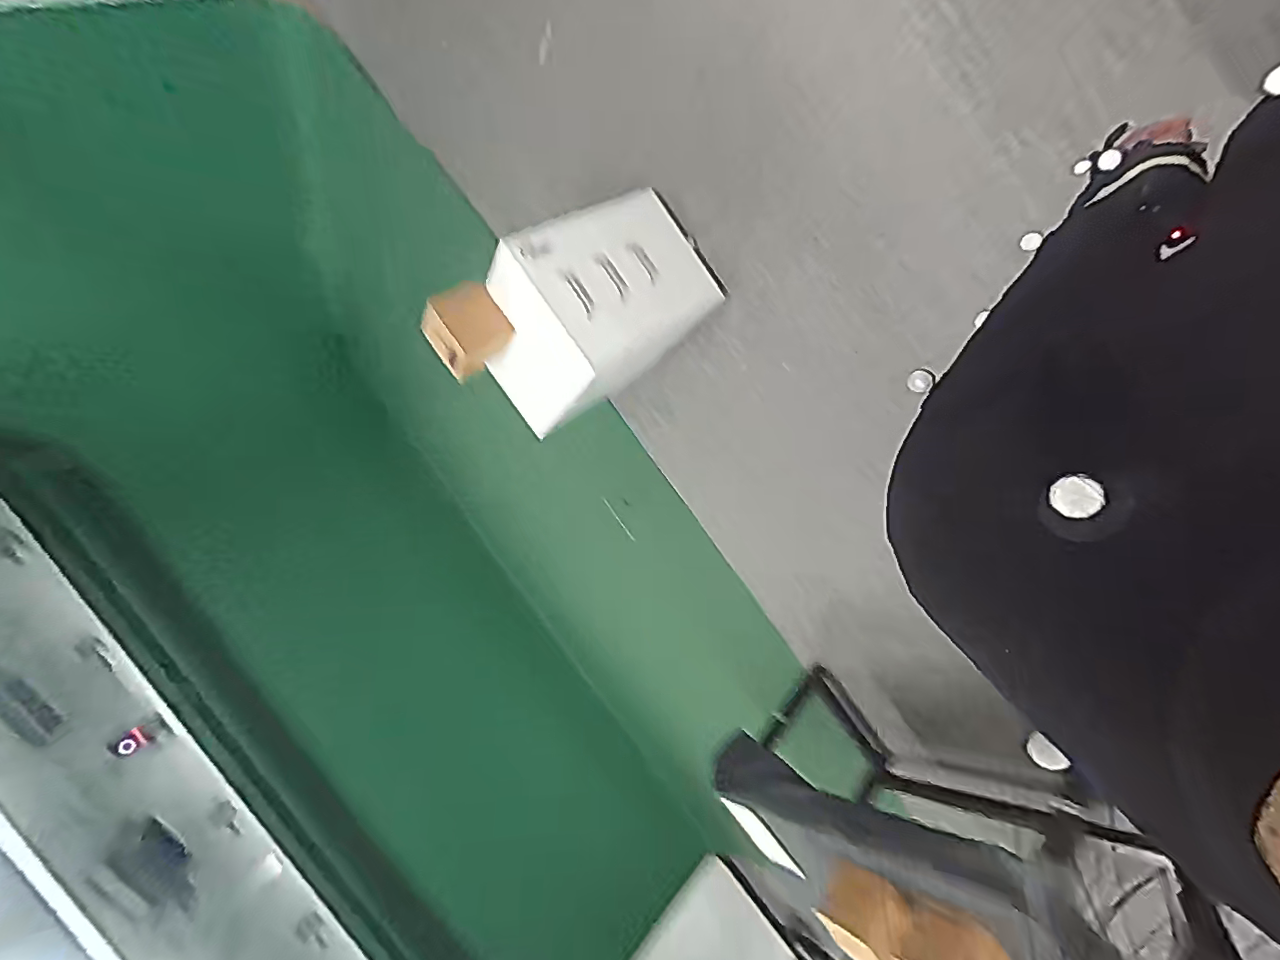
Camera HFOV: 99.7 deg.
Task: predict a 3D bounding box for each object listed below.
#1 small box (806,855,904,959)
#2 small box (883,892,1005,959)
[{"bbox_3d":[0.606,1.191,1.497,0.168,0.176,0.179,56,150,-7],"label":"small box"},{"bbox_3d":[0.724,1.130,1.274,0.179,0.176,0.168,51,151,1],"label":"small box"}]
